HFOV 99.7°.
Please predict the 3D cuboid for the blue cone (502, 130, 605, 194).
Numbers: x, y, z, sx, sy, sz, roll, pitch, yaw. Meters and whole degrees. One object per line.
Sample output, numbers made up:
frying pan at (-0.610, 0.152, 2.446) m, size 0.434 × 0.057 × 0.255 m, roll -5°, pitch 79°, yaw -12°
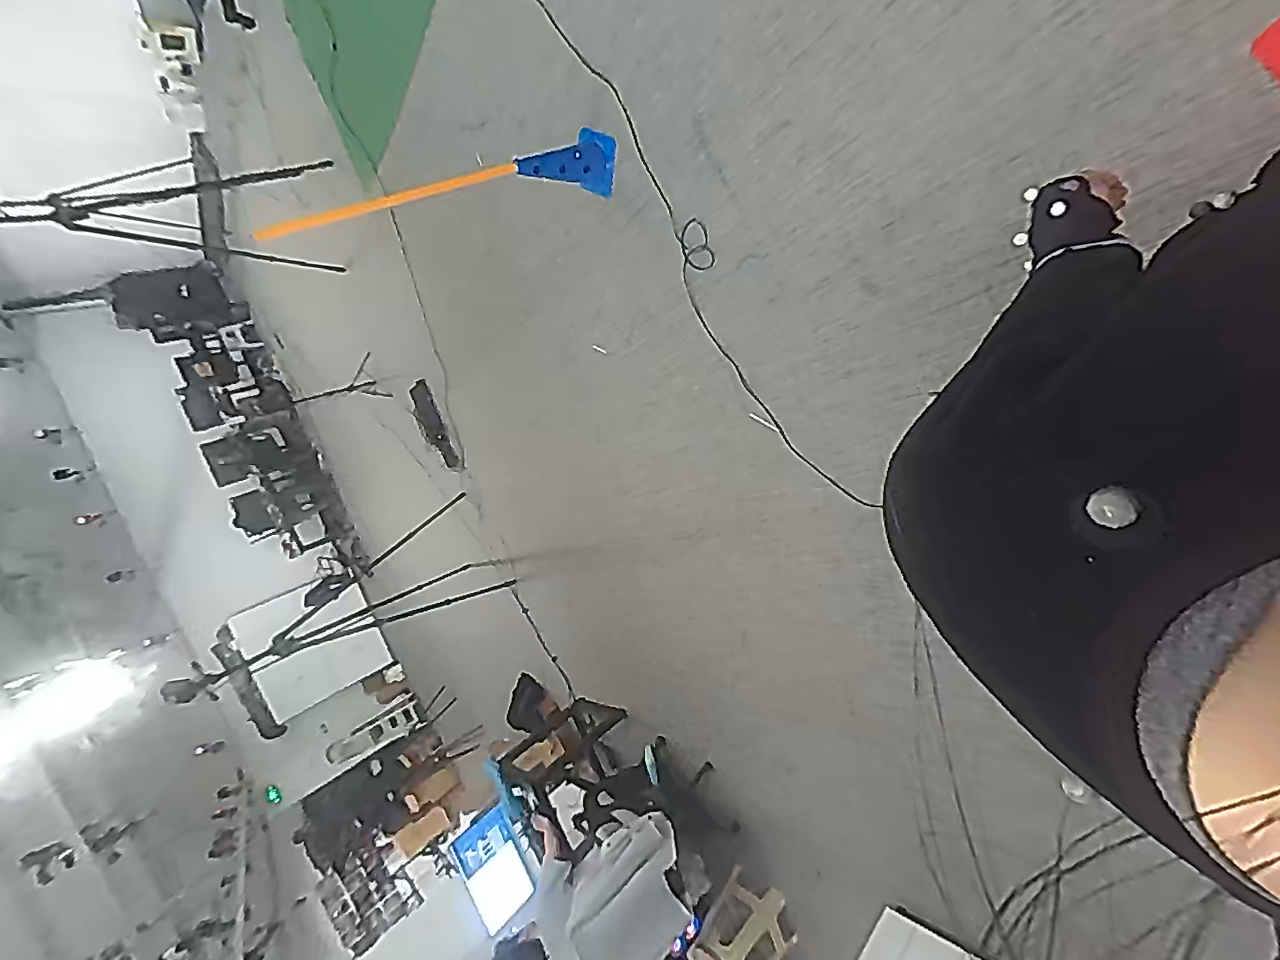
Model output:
blue cone at (-0.312, -1.109, 1.900) m, size 0.192 × 0.380 × 0.193 m, roll 37°, pitch 137°, yaw 29°
